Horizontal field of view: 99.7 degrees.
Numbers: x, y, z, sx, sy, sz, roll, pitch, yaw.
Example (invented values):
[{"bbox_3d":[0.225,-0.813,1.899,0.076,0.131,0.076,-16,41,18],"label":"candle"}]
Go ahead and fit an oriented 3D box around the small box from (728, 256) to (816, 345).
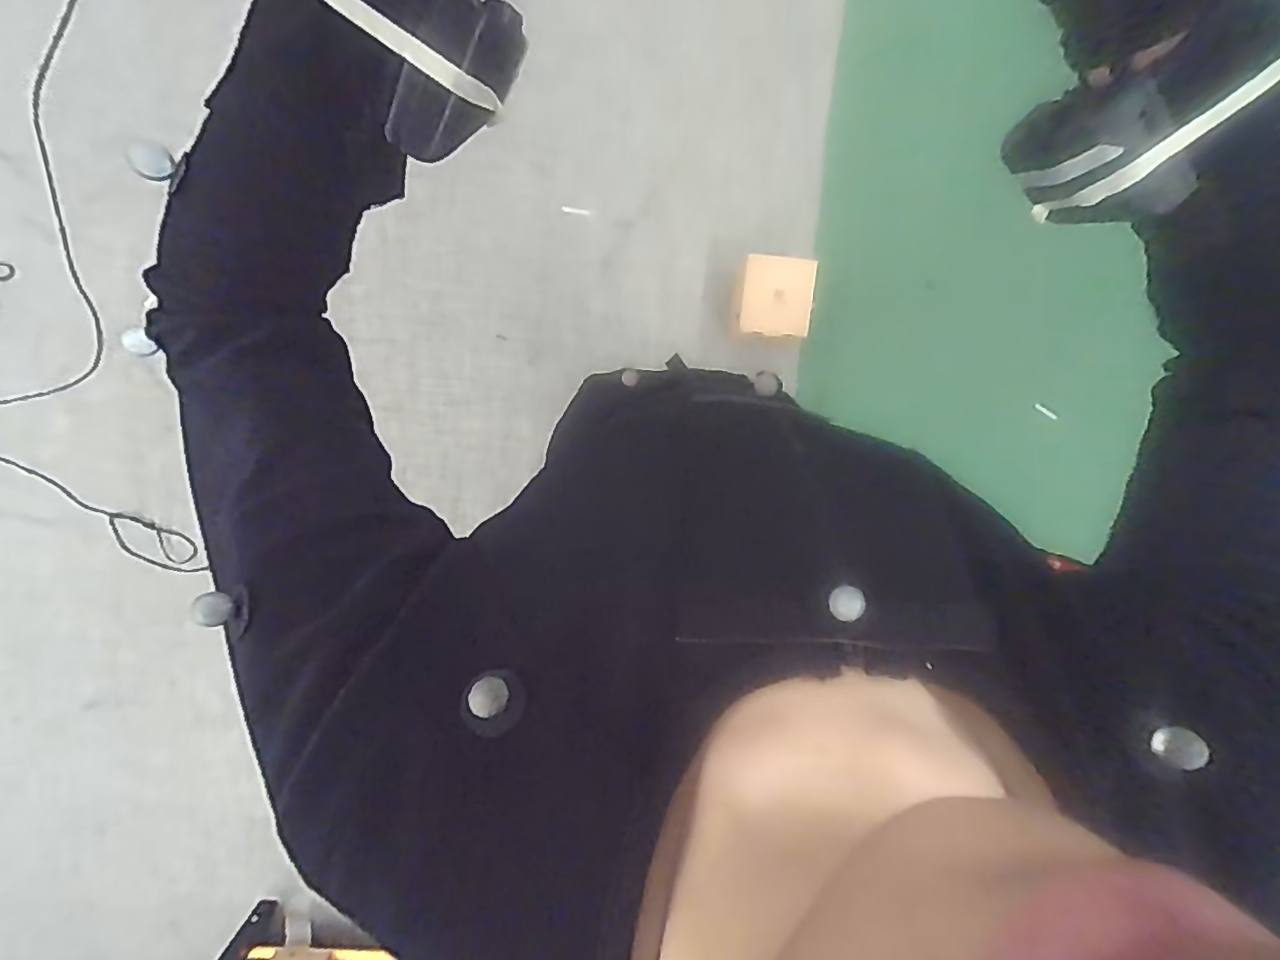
[{"bbox_3d":[0.315,-0.433,1.327,0.168,0.176,0.179,4,100,-1],"label":"small box"}]
